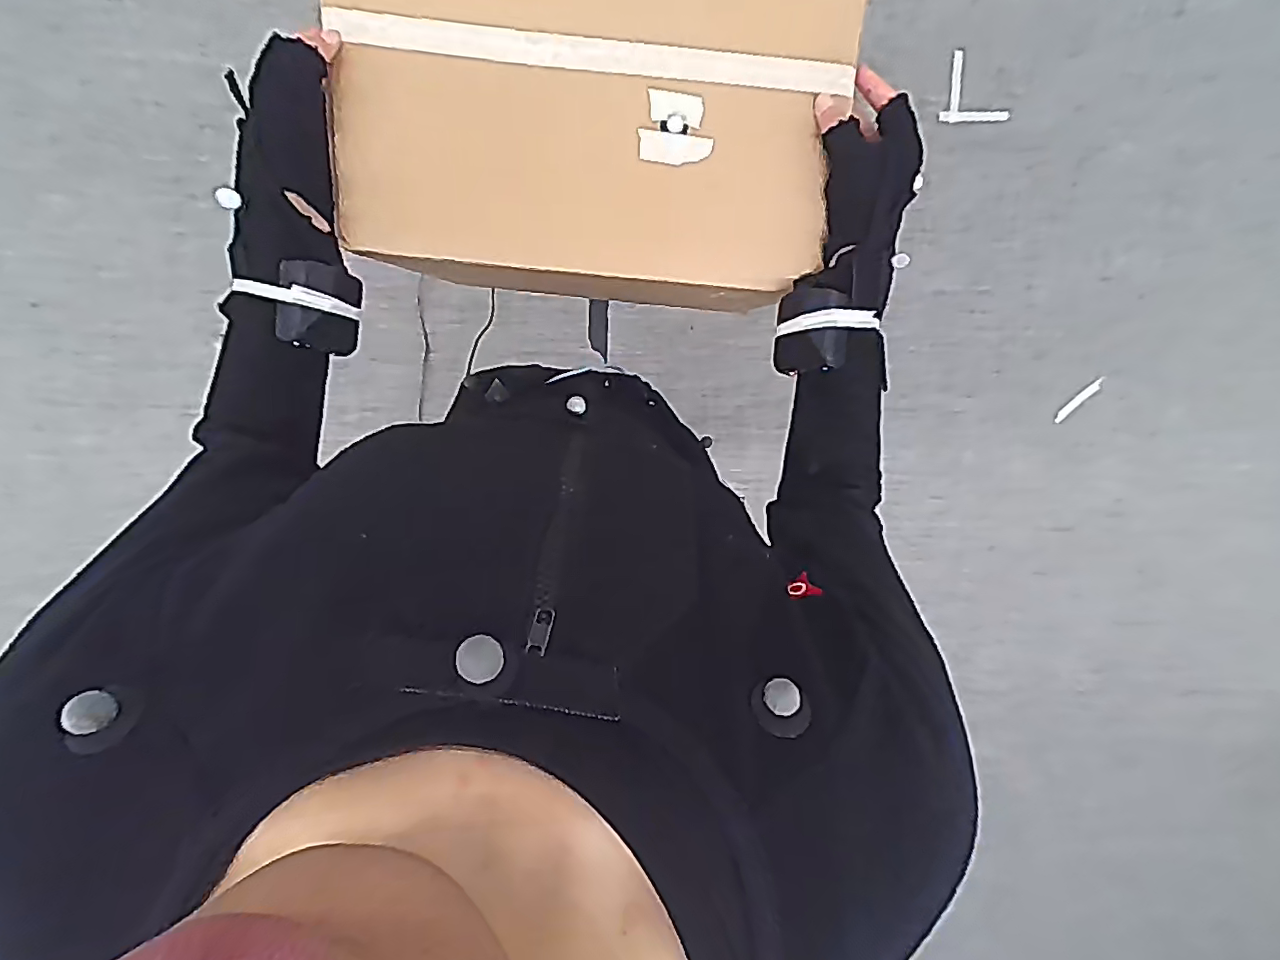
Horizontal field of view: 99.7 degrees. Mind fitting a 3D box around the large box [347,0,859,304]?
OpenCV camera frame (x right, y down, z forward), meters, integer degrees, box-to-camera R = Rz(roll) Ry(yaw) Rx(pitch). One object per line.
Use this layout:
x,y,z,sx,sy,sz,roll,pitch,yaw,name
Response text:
-0.036,-0.369,0.574,0.408,0.320,0.320,4,106,-3,large box
